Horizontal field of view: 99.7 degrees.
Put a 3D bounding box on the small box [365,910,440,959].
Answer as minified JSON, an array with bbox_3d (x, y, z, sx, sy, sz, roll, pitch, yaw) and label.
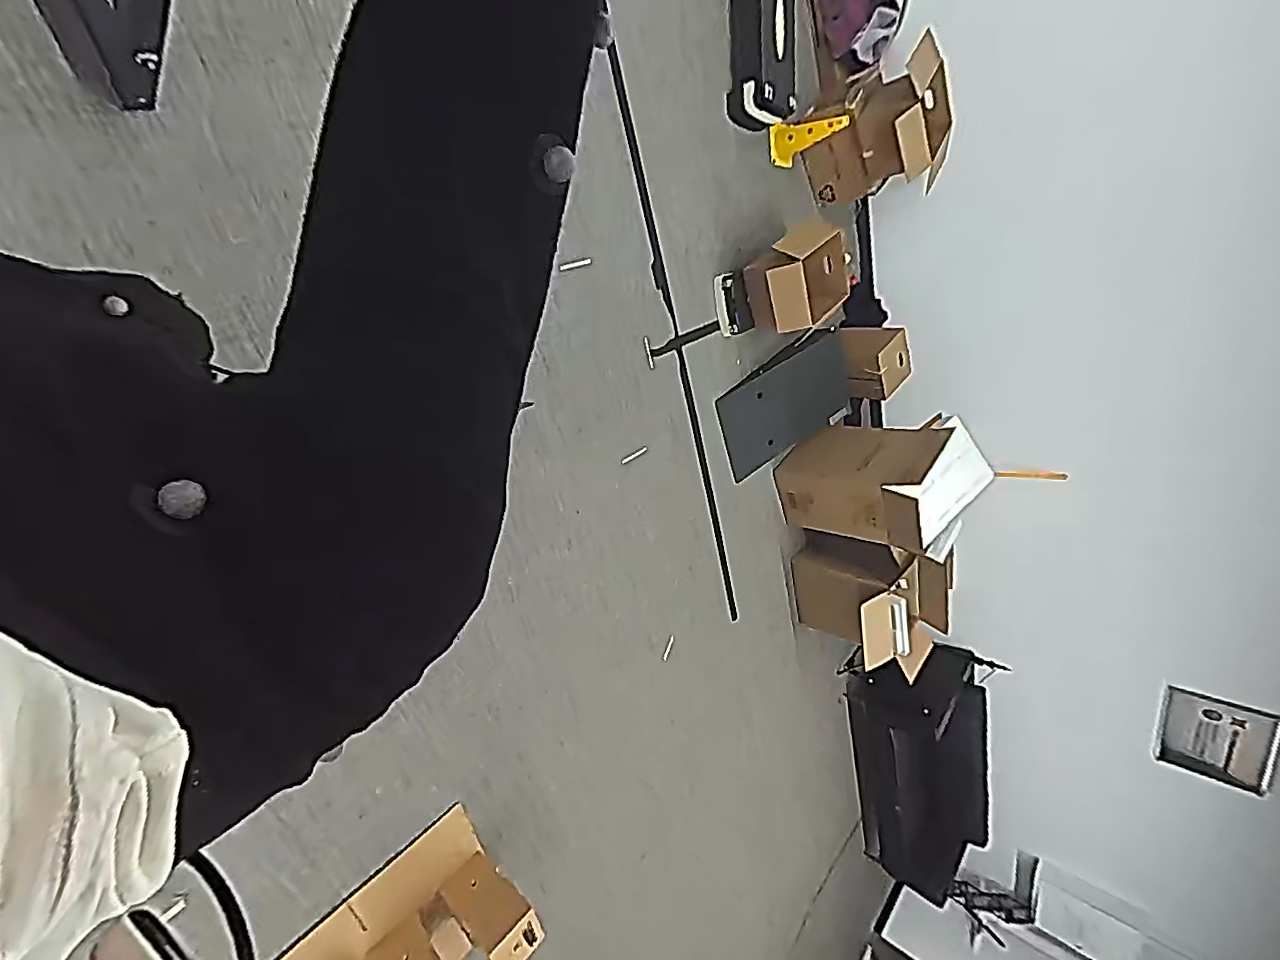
[{"bbox_3d":[-0.777,1.585,1.775,0.179,0.176,0.168,-30,117,-38],"label":"small box"}]

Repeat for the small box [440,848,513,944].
[{"bbox_3d":[-0.594,1.484,1.939,0.179,0.176,0.168,-32,119,-39],"label":"small box"}]
